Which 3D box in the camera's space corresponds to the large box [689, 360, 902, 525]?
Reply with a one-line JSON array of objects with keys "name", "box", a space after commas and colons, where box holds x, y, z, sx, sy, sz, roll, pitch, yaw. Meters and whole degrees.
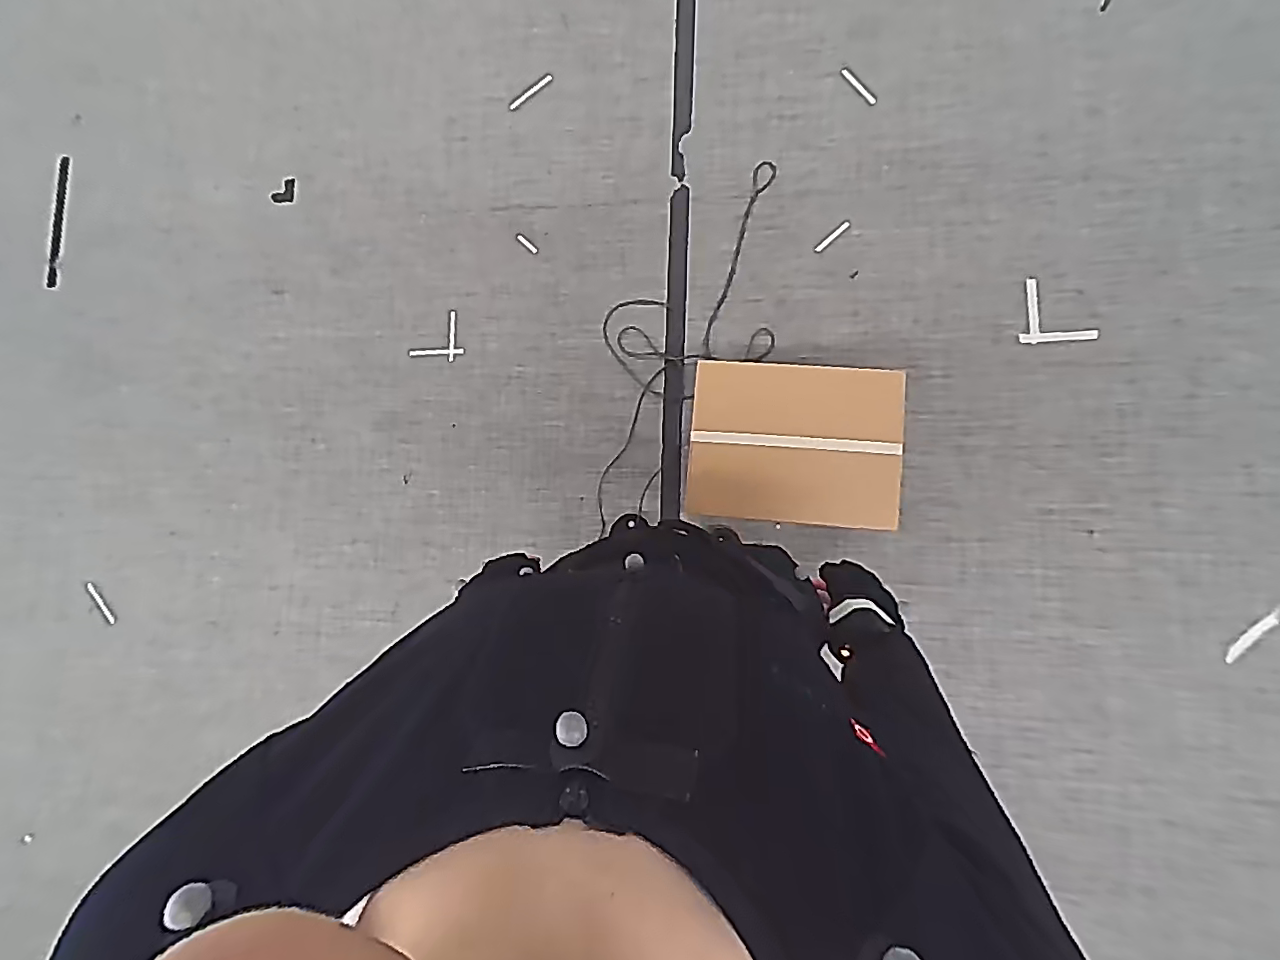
[{"name": "large box", "box": [0.318, -0.068, 1.216, 0.408, 0.320, 0.320, 5, 88, 7]}]
